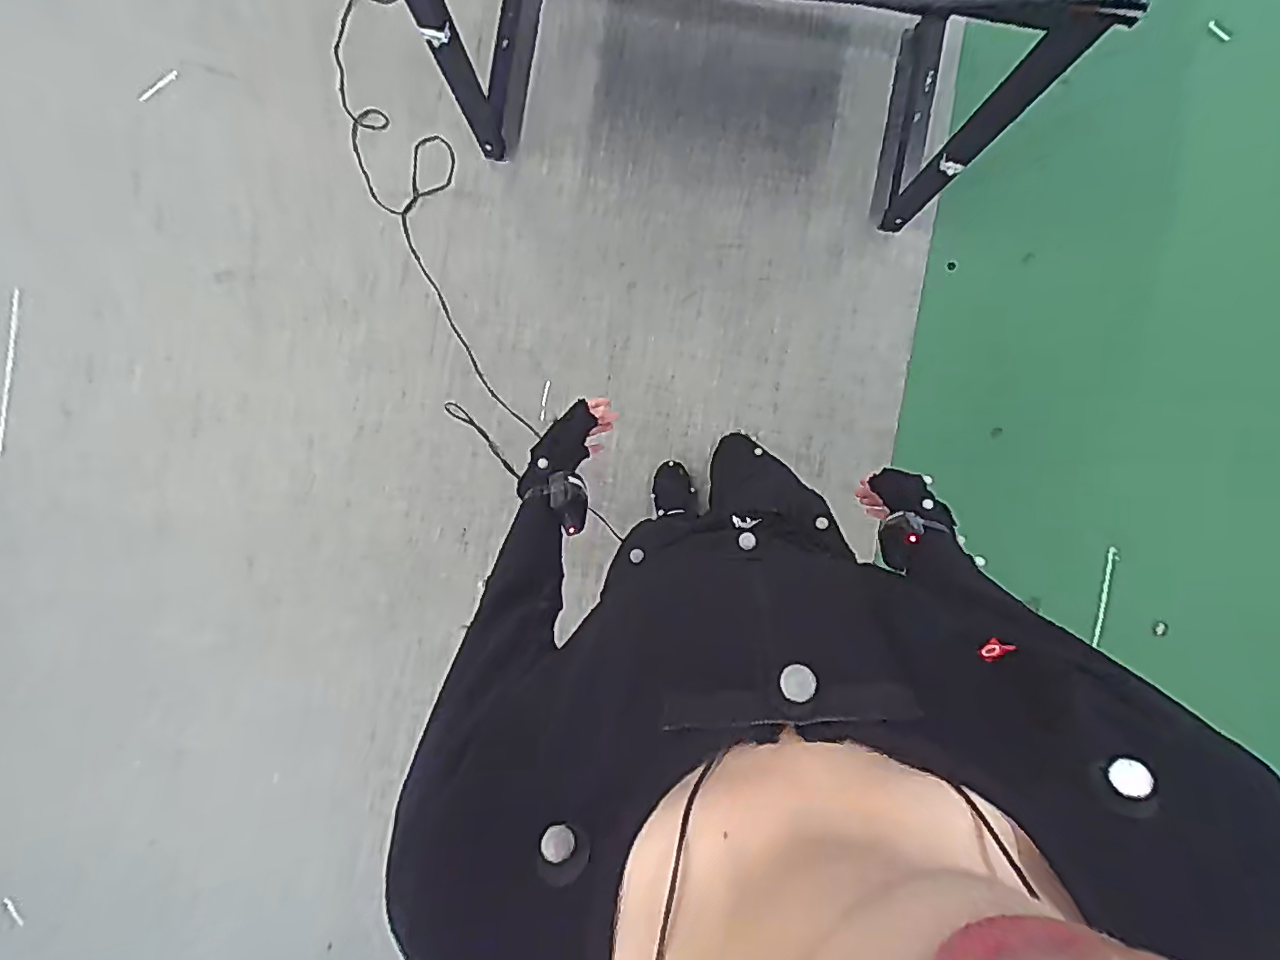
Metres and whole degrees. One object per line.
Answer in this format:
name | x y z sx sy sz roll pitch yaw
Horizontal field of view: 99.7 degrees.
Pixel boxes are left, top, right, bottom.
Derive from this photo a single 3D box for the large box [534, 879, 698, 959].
large box | -0.076 1.305 1.389 0.408 0.320 0.320 9 91 -1
